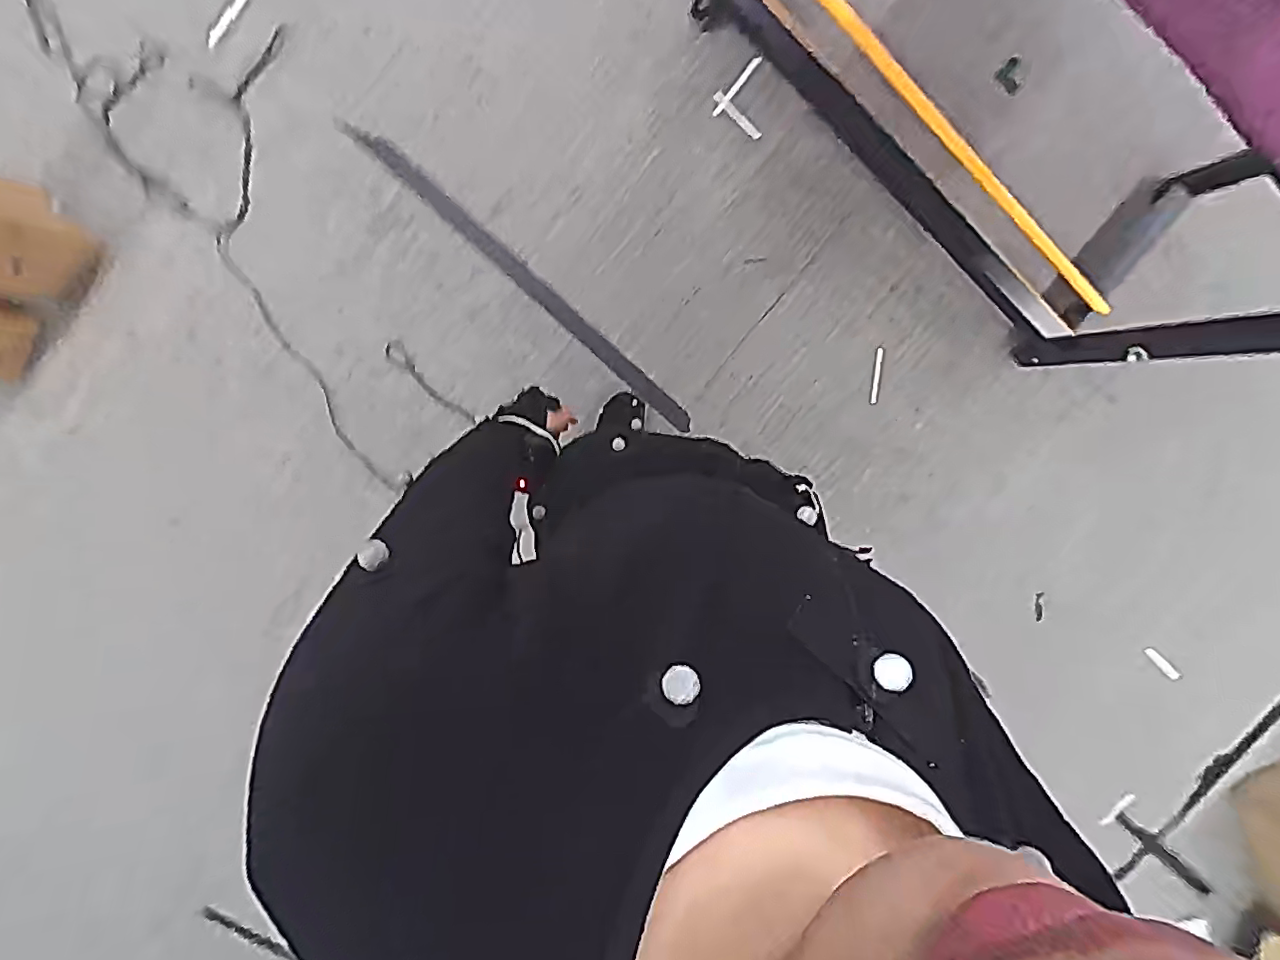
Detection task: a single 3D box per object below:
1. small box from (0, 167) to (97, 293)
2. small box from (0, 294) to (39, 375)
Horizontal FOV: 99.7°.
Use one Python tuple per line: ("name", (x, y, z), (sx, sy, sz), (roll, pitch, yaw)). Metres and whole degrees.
("small box", (-1.257, -0.496, 1.067), (0.179, 0.176, 0.168), (-44, 101, 3))
("small box", (-1.410, -0.320, 1.088), (0.179, 0.176, 0.168), (33, 96, -11))
